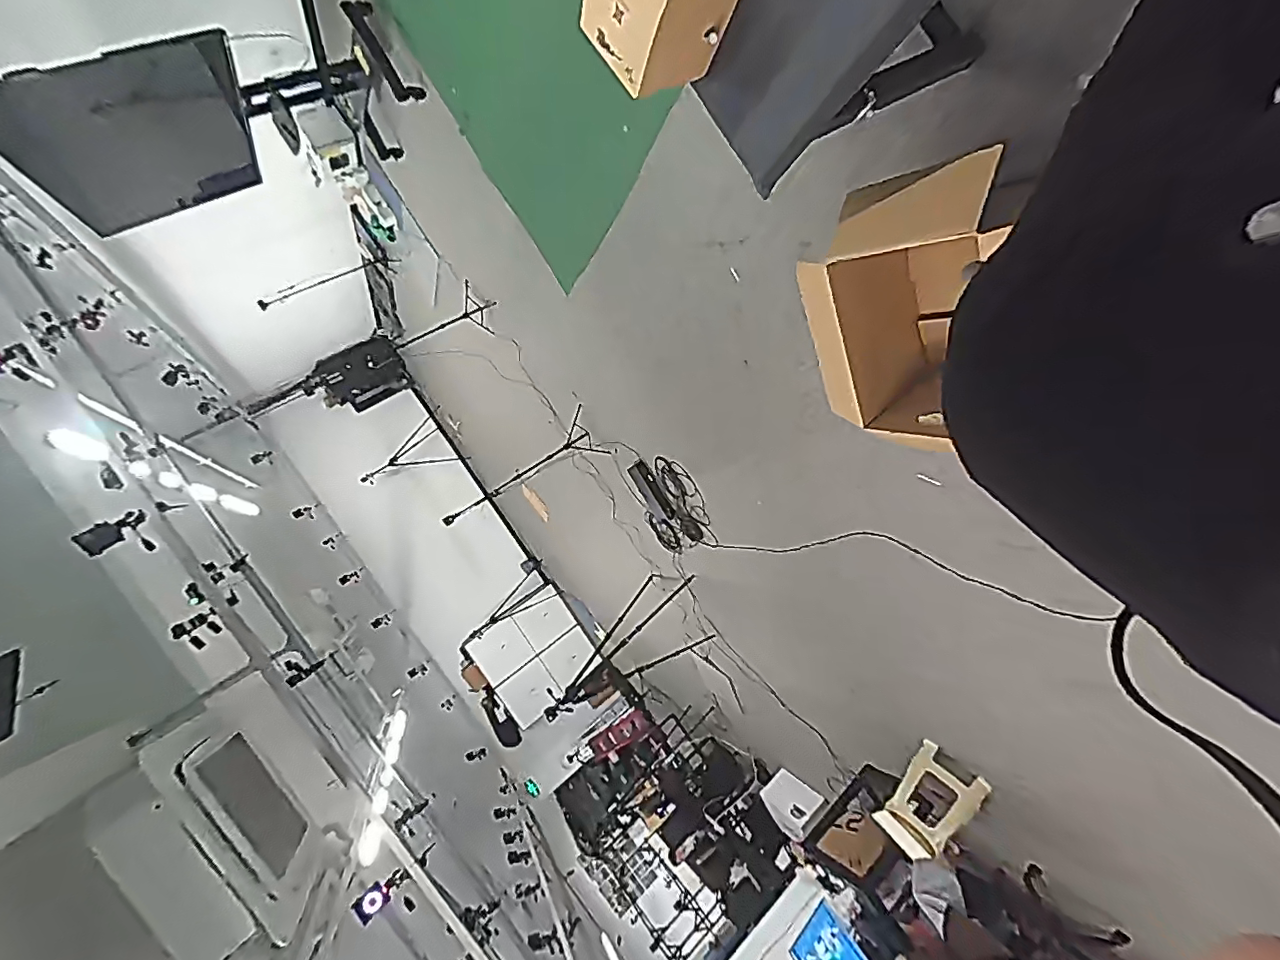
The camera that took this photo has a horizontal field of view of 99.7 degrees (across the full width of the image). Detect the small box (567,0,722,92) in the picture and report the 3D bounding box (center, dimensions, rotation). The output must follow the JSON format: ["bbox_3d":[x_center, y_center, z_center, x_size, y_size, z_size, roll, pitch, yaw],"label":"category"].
[{"bbox_3d":[0.013,-0.775,0.856,0.168,0.176,0.179,54,156,1],"label":"small box"}]
